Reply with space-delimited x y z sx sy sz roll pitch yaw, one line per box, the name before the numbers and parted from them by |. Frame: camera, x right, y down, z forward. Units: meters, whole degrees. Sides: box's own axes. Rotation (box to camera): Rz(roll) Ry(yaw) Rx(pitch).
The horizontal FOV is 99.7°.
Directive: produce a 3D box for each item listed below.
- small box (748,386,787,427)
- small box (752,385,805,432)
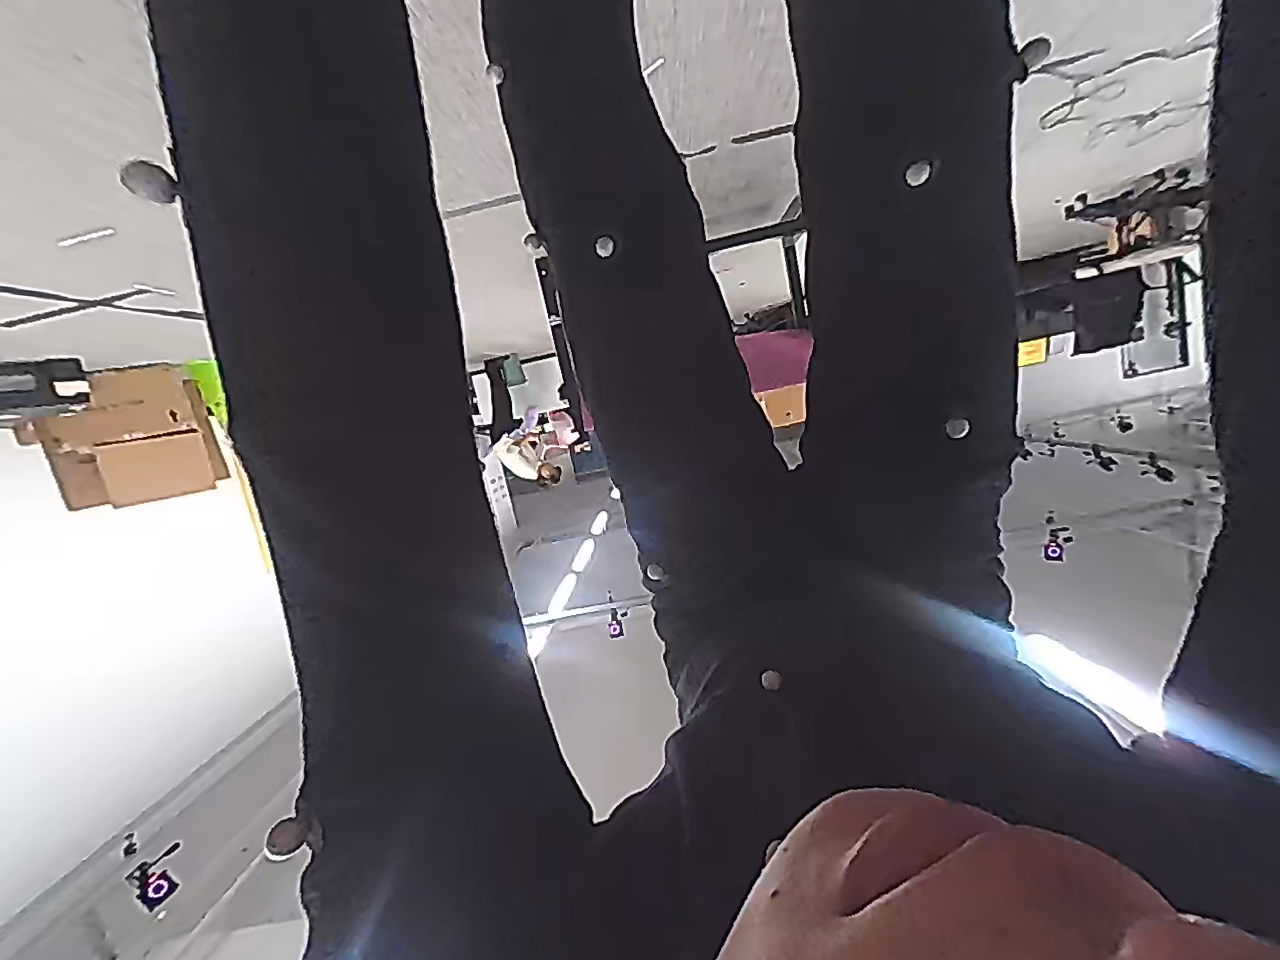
small box | 0.629 -0.356 2.599 0.179 0.176 0.168 -11 -172 7
small box | 0.602 -0.316 2.362 0.179 0.176 0.168 -12 -172 5
